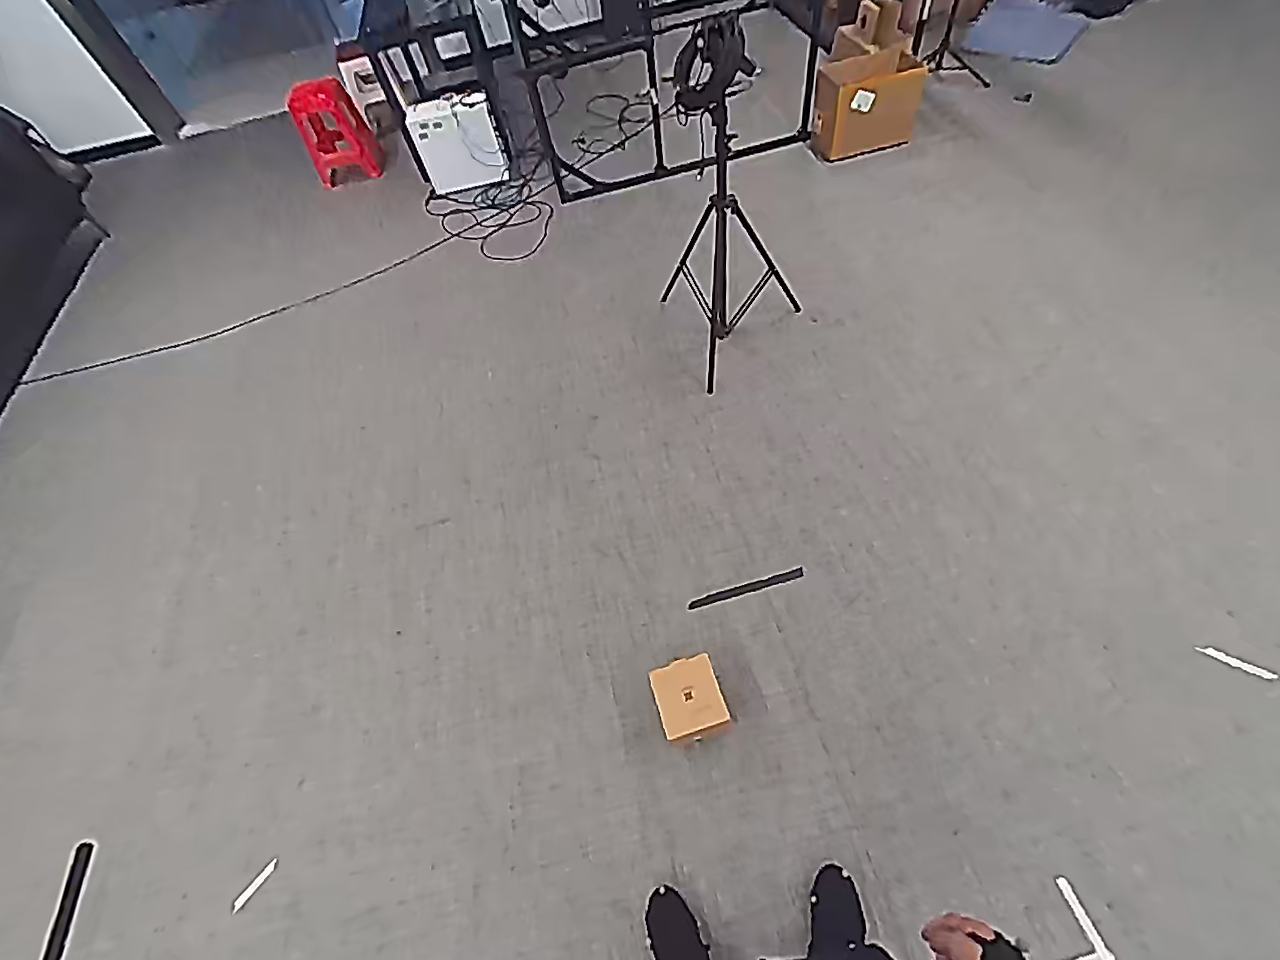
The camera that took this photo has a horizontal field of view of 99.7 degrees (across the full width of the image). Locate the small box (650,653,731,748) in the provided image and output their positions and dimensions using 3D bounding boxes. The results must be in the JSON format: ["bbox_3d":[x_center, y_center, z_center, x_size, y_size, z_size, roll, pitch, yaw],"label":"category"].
[{"bbox_3d":[0.134,0.589,1.436,0.168,0.176,0.179,-18,56,-2],"label":"small box"}]
